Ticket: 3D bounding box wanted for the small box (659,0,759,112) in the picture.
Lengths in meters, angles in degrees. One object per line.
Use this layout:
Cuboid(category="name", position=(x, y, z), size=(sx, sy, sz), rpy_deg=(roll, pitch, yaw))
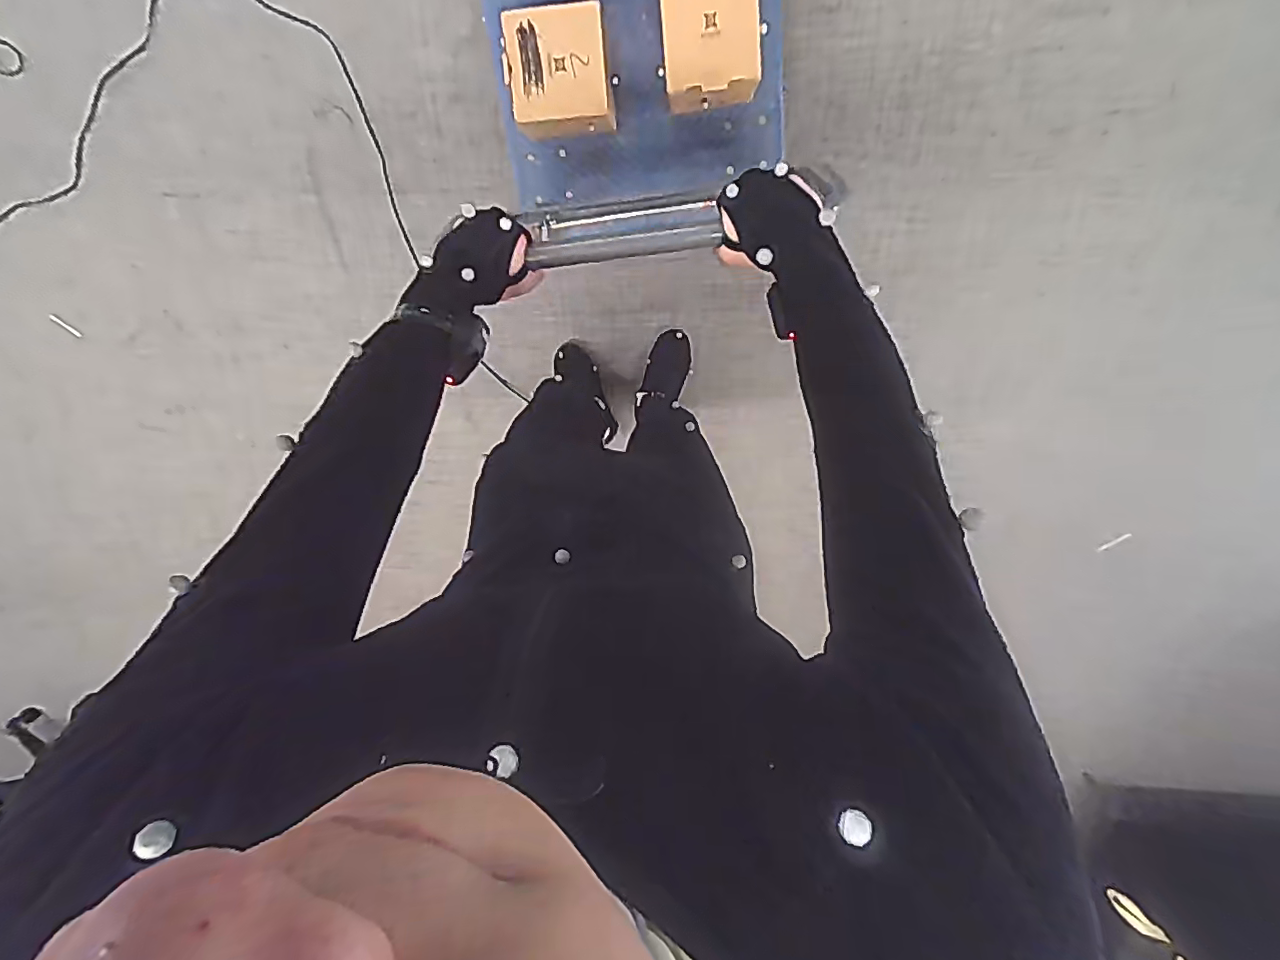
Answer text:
Cuboid(category="small box", position=(0.123, -0.809, 0.995), size=(0.168, 0.176, 0.179), rpy_deg=(-5, 113, 6))
